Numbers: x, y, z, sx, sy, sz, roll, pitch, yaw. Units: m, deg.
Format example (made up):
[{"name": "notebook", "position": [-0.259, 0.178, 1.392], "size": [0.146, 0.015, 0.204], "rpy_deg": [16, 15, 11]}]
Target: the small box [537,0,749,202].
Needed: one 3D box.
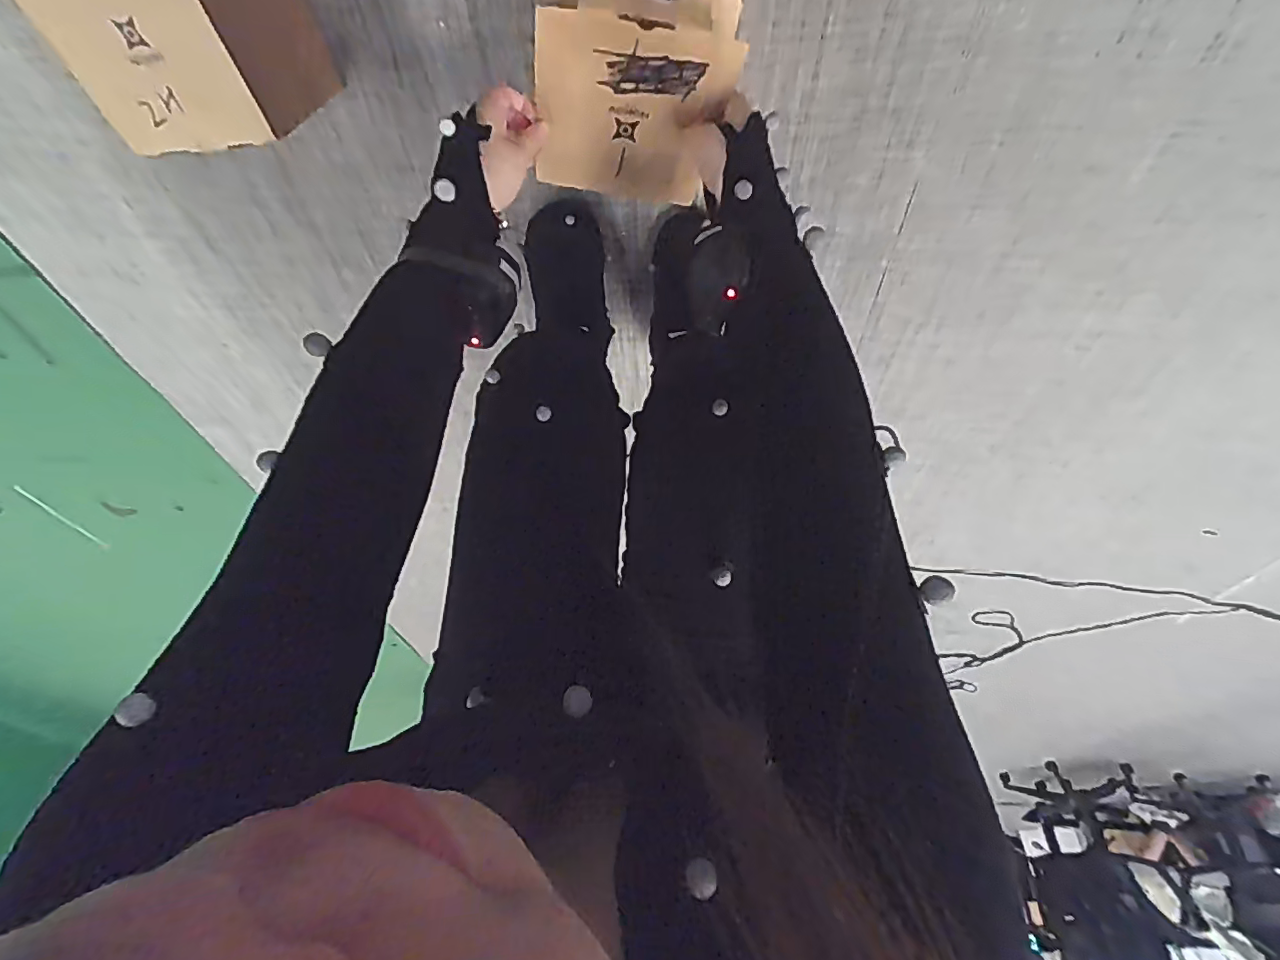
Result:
[{"name": "small box", "position": [-0.011, -0.413, 0.535], "size": [0.168, 0.176, 0.179], "rpy_deg": [5, 142, -11]}]

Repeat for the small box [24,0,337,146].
[{"name": "small box", "position": [-0.443, -0.460, 0.530], "size": [0.168, 0.176, 0.179], "rpy_deg": [-1, 141, 6]}]
